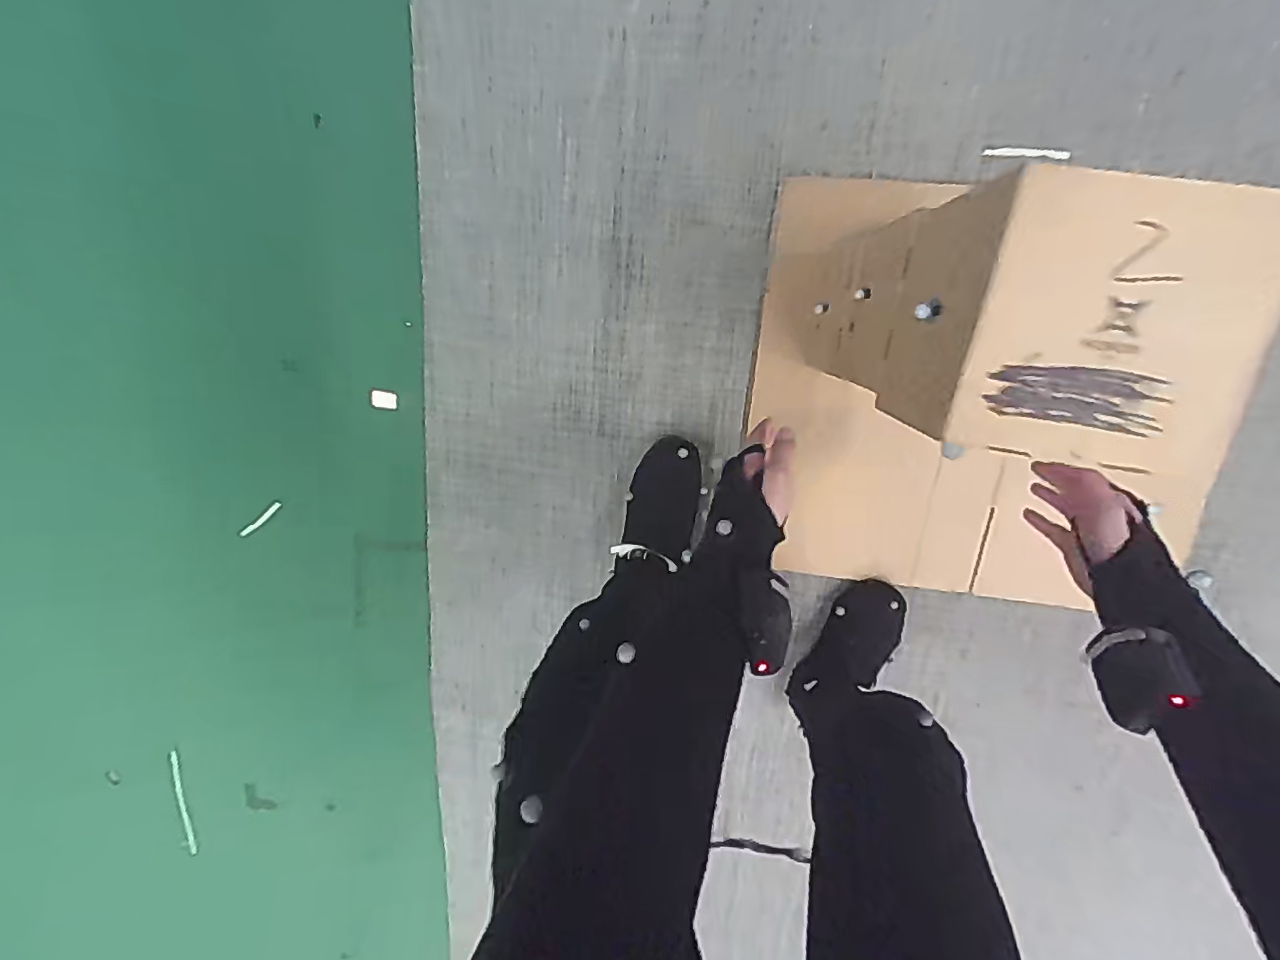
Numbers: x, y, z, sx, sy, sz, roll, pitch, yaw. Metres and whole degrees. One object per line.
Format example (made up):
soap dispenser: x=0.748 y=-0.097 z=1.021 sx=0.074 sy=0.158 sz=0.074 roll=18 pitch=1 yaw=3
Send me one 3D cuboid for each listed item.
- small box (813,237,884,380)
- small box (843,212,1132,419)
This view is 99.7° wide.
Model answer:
small box: x=0.345 y=-0.216 z=0.717 sx=0.179 sy=0.176 sz=0.168 roll=8 pitch=107 yaw=5
small box: x=0.333 y=-0.169 z=0.563 sx=0.179 sy=0.176 sz=0.168 roll=8 pitch=108 yaw=5
